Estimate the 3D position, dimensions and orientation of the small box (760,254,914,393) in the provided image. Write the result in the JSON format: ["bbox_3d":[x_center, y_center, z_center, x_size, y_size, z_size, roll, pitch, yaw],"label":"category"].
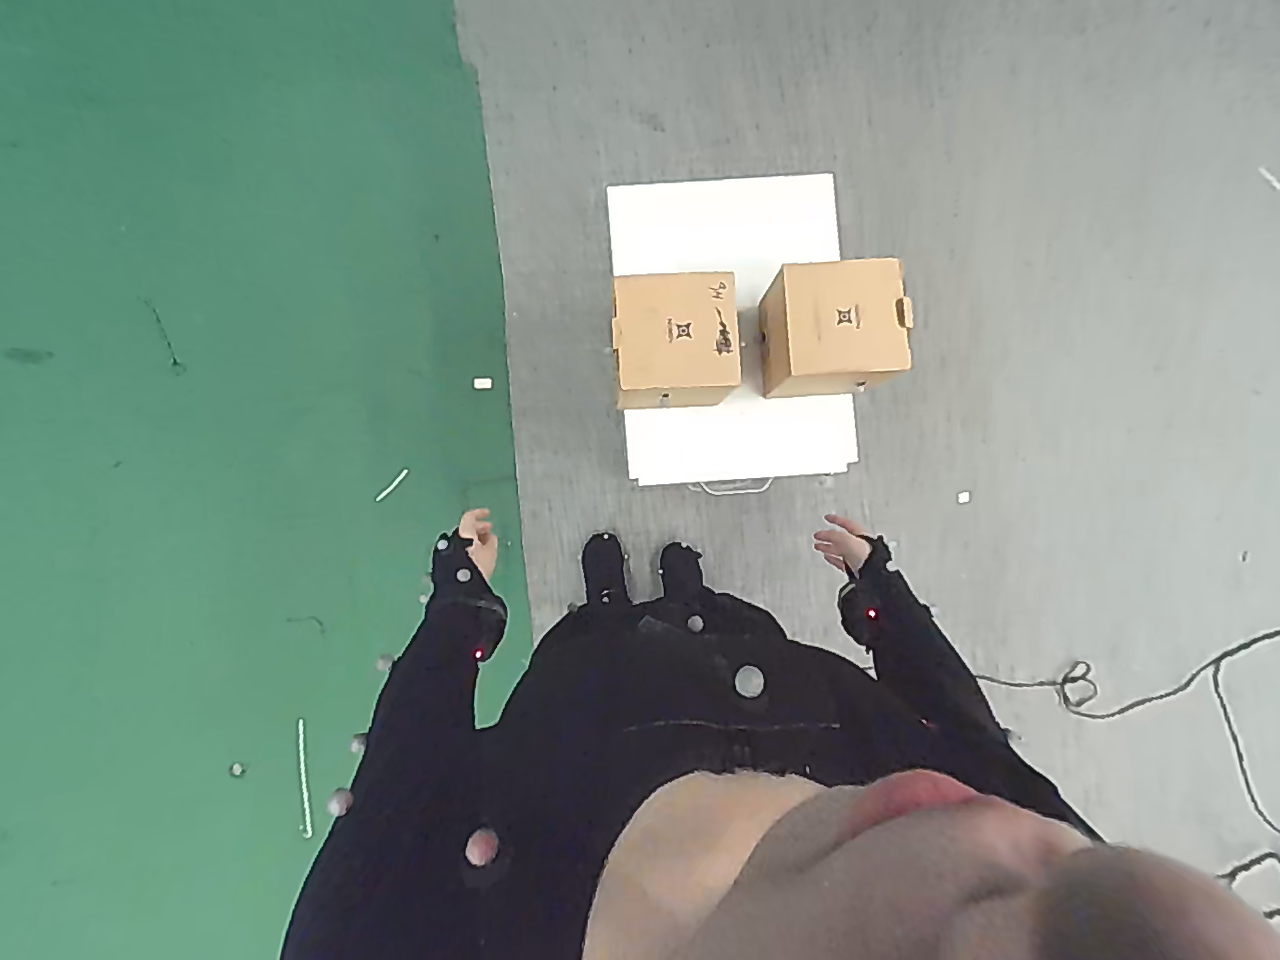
[{"bbox_3d":[0.297,-0.234,0.845,0.179,0.176,0.168,-3,88,0],"label":"small box"}]

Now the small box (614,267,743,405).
[{"bbox_3d":[0.052,-0.212,0.835,0.179,0.176,0.168,-3,89,-3],"label":"small box"}]
